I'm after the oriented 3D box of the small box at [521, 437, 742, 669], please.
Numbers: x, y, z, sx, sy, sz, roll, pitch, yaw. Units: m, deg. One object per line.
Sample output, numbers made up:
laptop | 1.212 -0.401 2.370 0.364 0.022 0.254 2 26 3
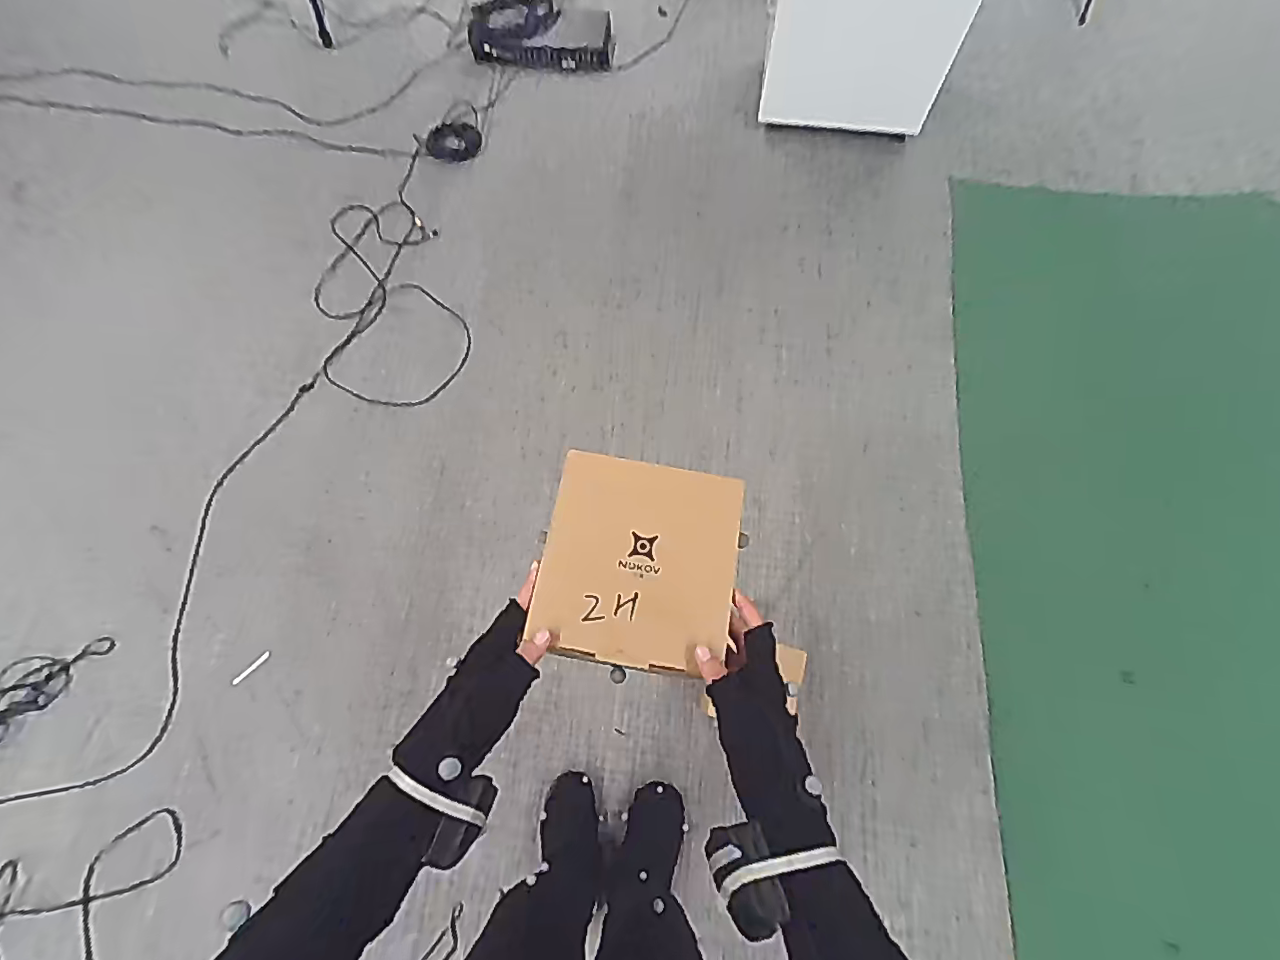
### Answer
small box | -0.005 0.082 0.535 0.168 0.176 0.179 10 70 2
